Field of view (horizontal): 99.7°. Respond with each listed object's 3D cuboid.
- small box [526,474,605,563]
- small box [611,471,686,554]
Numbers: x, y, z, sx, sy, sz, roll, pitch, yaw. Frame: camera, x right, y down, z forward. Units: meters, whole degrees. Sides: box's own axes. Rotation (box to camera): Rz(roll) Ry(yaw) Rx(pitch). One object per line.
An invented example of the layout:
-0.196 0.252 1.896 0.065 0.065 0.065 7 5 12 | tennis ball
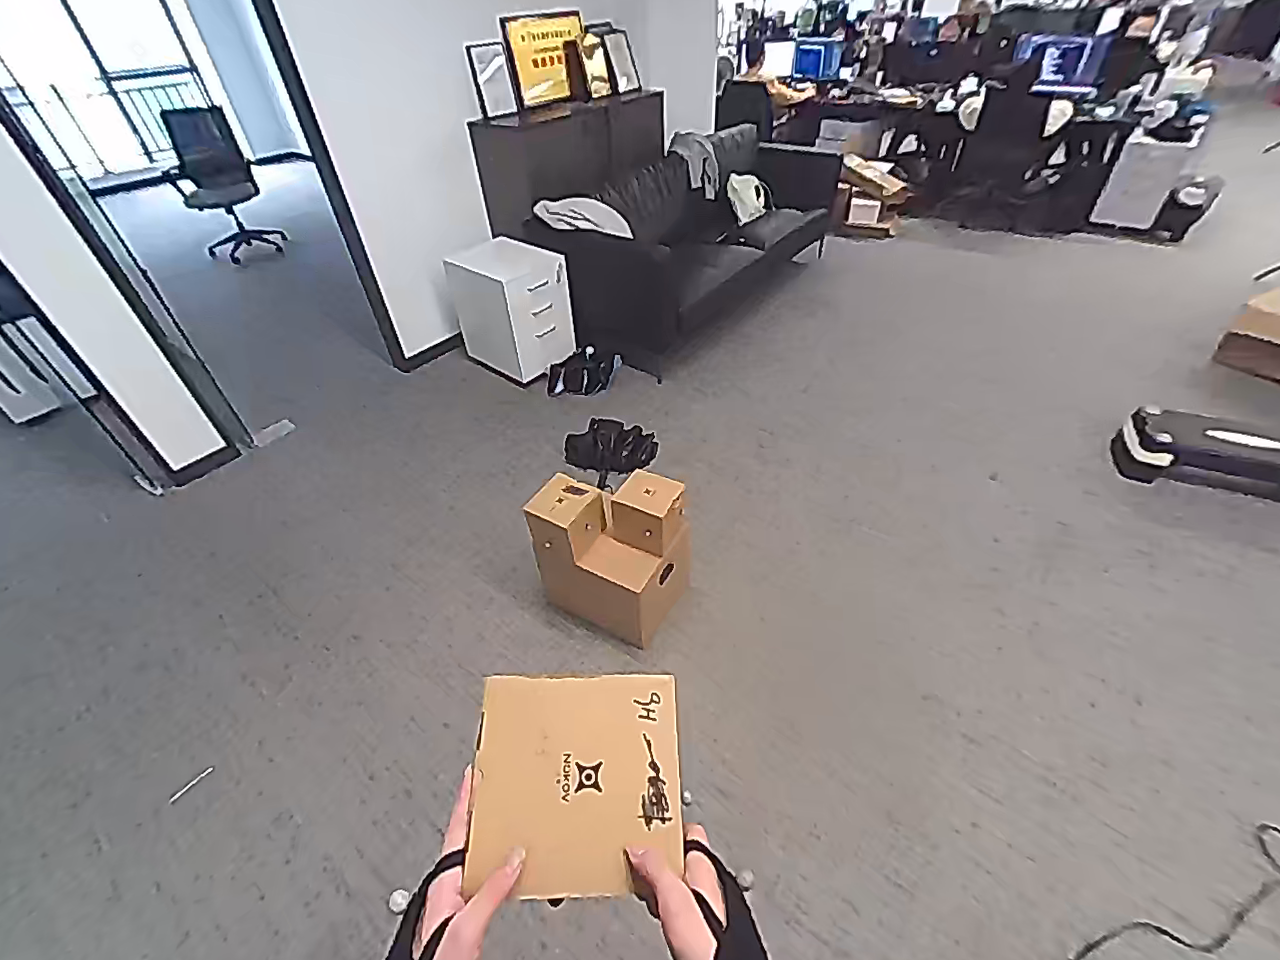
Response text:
-0.221 0.118 1.659 0.168 0.176 0.179 21 51 25 | small box
0.030 0.103 1.659 0.179 0.176 0.168 17 42 23 | small box
